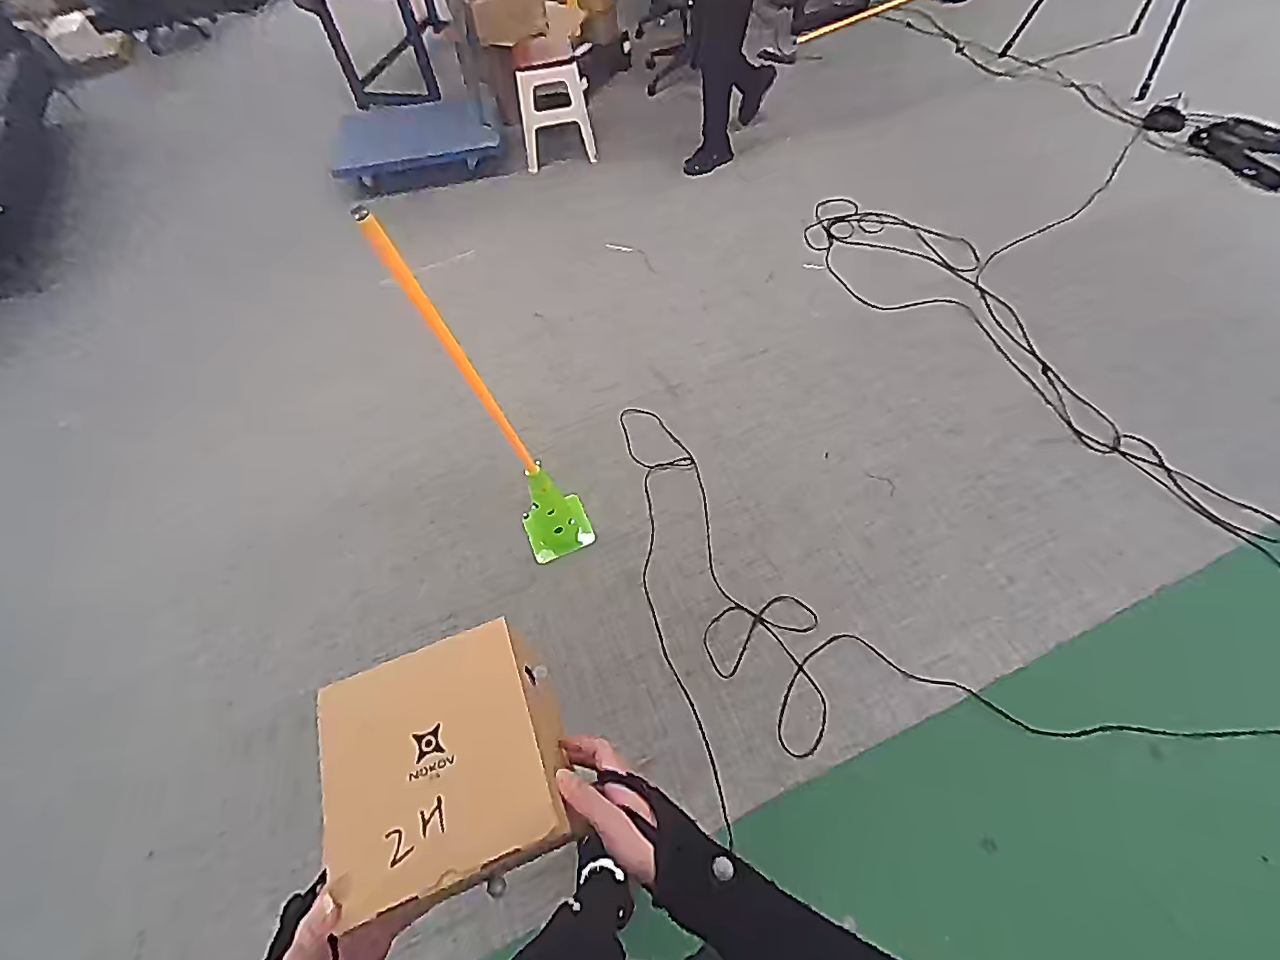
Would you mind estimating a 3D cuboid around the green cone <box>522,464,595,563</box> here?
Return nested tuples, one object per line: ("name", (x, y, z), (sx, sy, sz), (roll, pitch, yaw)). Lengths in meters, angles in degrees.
("green cone", (-0.277, 0.070, 1.622), (0.202, 0.368, 0.200), (-22, 60, -10))

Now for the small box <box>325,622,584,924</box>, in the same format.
("small box", (-0.161, 0.261, 0.496), (0.168, 0.176, 0.179), (-19, 58, -8))
